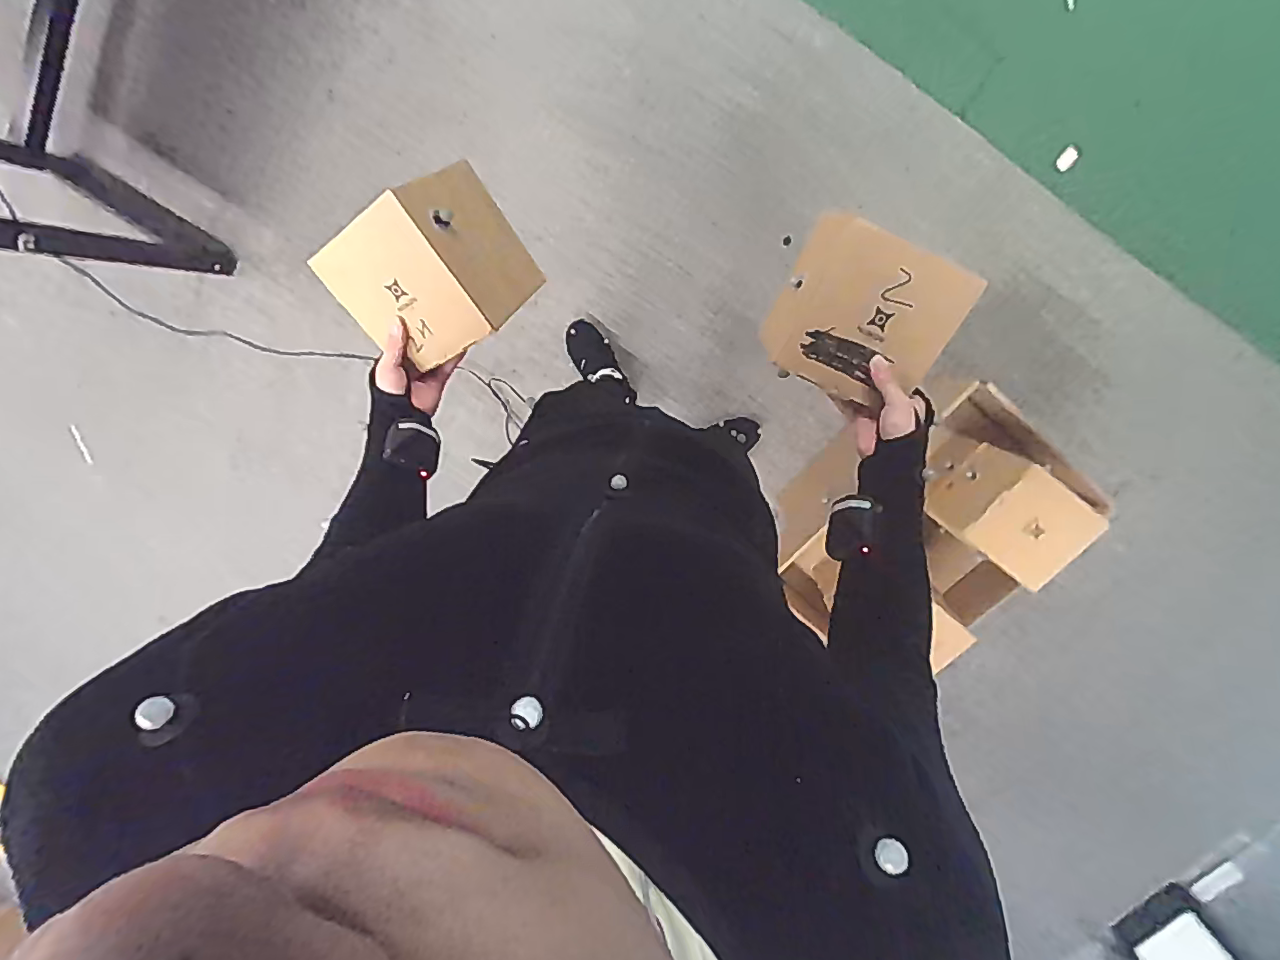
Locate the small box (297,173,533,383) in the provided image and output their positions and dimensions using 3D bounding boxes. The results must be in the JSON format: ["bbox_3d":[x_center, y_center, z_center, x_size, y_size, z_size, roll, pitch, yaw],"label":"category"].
[{"bbox_3d":[-0.269,-0.259,0.683,0.168,0.176,0.179,-18,122,30],"label":"small box"}]

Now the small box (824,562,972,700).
[{"bbox_3d":[0.494,0.284,1.067,0.179,0.176,0.168,40,106,-7],"label":"small box"}]

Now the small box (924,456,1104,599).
[{"bbox_3d":[0.672,0.077,0.995,0.179,0.176,0.168,38,106,-4],"label":"small box"}]

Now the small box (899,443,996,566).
[{"bbox_3d":[0.694,0.043,1.154,0.168,0.176,0.179,38,106,-5],"label":"small box"}]
